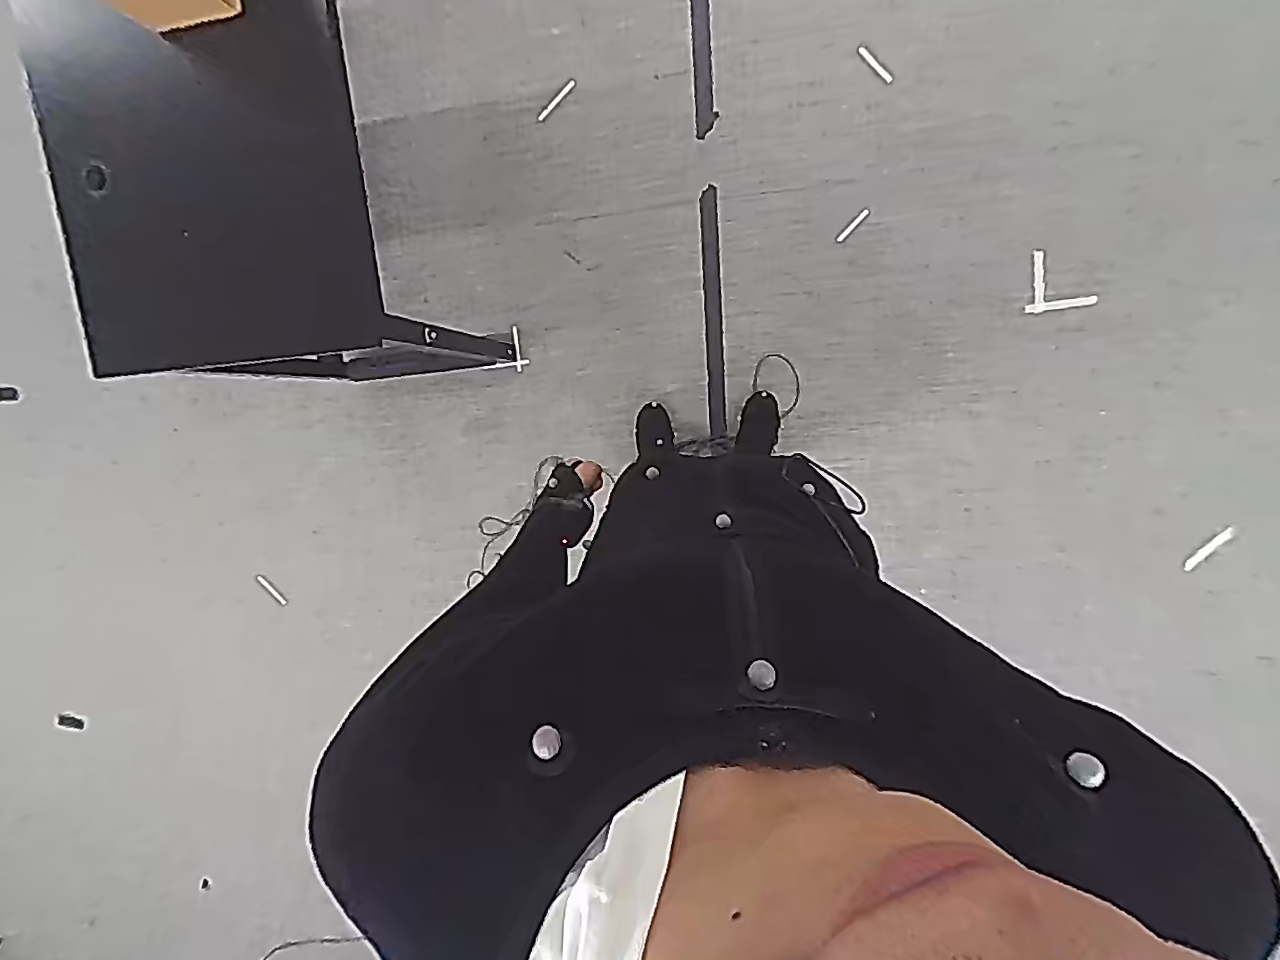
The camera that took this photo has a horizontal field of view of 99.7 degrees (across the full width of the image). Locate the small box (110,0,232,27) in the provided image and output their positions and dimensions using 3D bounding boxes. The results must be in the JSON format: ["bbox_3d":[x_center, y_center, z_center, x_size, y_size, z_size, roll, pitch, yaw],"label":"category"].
[{"bbox_3d":[-0.765,-0.832,0.813,0.179,0.176,0.168,-4,99,9],"label":"small box"}]
